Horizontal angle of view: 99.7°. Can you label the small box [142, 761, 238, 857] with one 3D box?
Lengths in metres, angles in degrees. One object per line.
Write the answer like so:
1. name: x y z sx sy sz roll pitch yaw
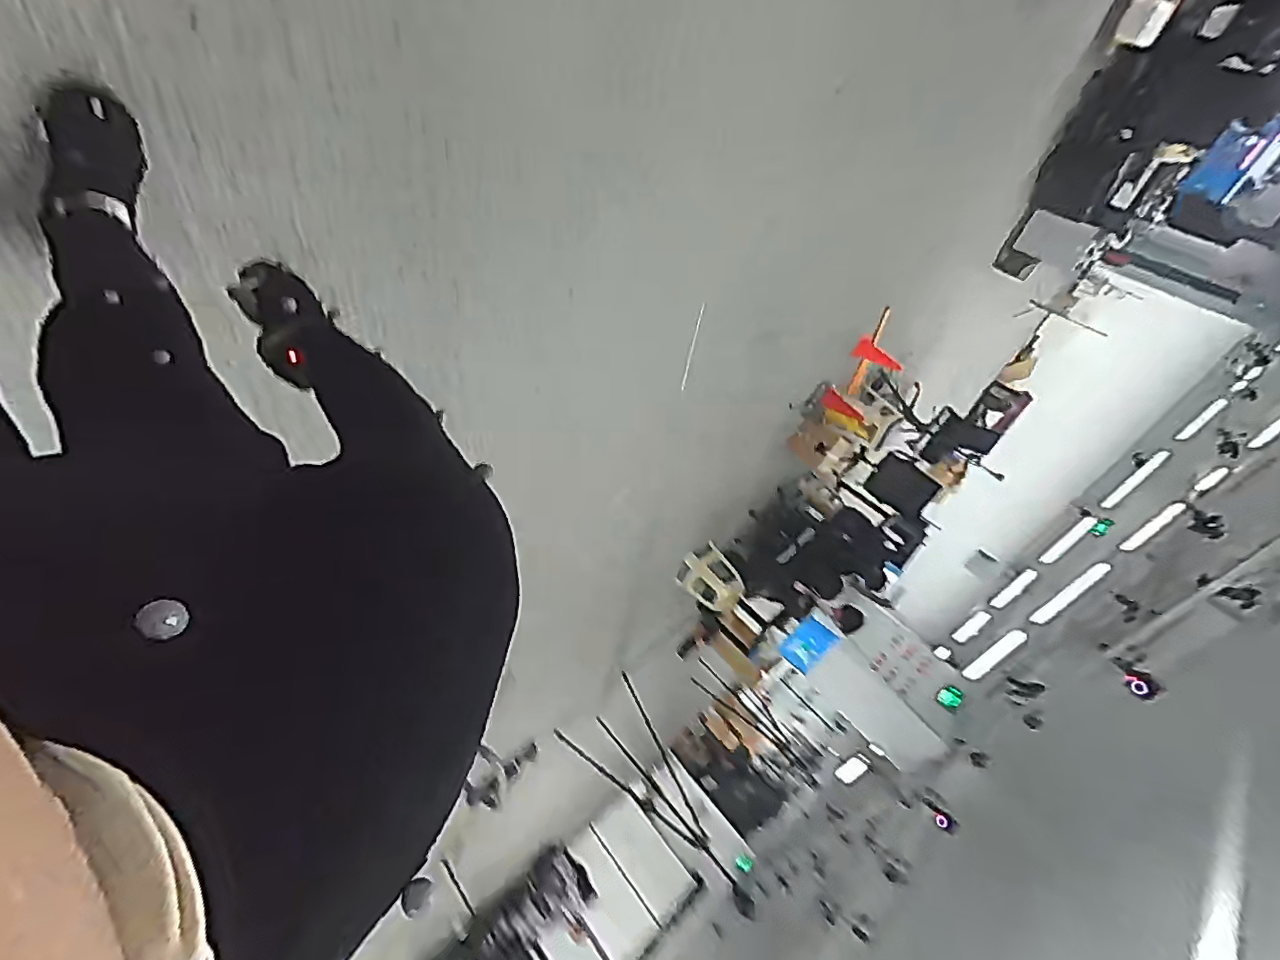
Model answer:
1. small box: -1.422 1.035 1.711 0.179 0.176 0.168 -27 145 -37
